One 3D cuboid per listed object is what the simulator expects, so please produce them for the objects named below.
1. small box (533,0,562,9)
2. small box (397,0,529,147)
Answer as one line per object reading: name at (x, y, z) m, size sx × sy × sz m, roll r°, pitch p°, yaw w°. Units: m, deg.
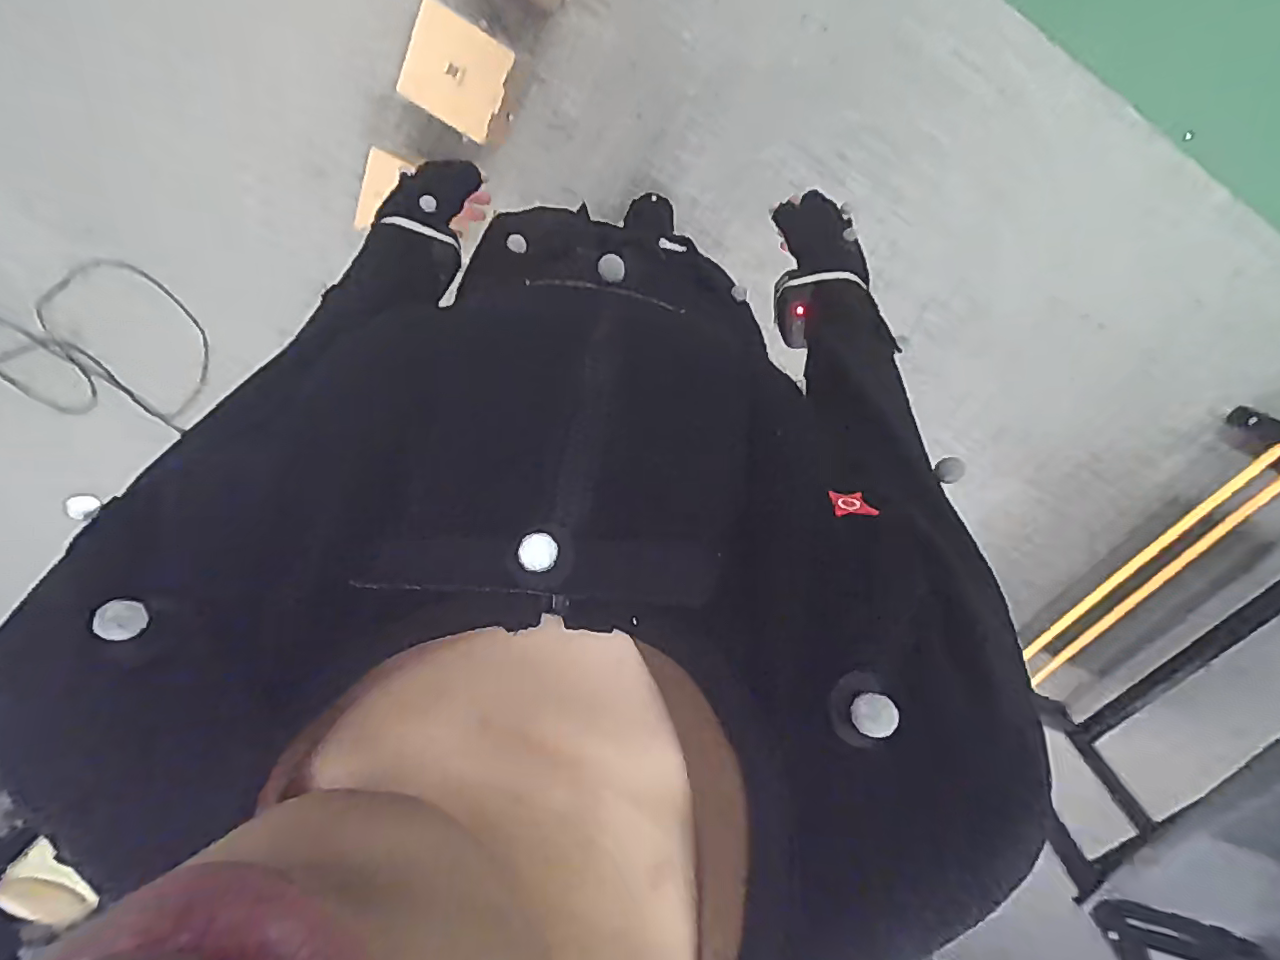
small box at (-0.199, -0.989, 0.960) m, size 0.179 × 0.176 × 0.168 m, roll 26°, pitch 115°, yaw -13°
small box at (-0.341, -0.788, 1.070) m, size 0.179 × 0.176 × 0.168 m, roll 26°, pitch 115°, yaw -14°
